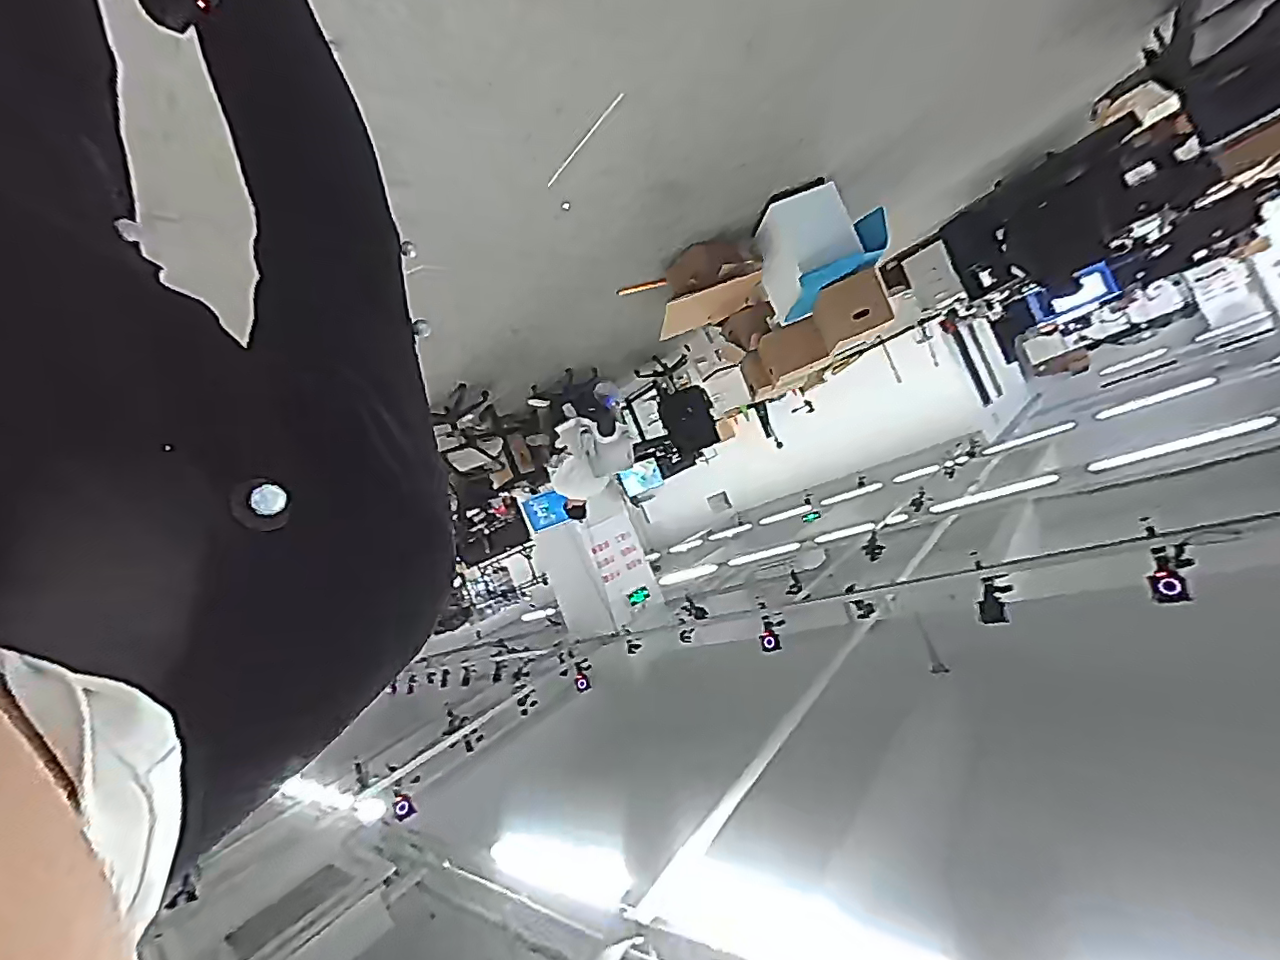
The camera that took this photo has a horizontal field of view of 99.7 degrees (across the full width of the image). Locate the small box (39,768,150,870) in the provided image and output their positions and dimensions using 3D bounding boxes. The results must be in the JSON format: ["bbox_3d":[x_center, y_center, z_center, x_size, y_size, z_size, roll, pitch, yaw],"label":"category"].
[{"bbox_3d":[-1.509,0.925,1.504,0.179,0.176,0.168,-20,177,-43],"label":"small box"}]
